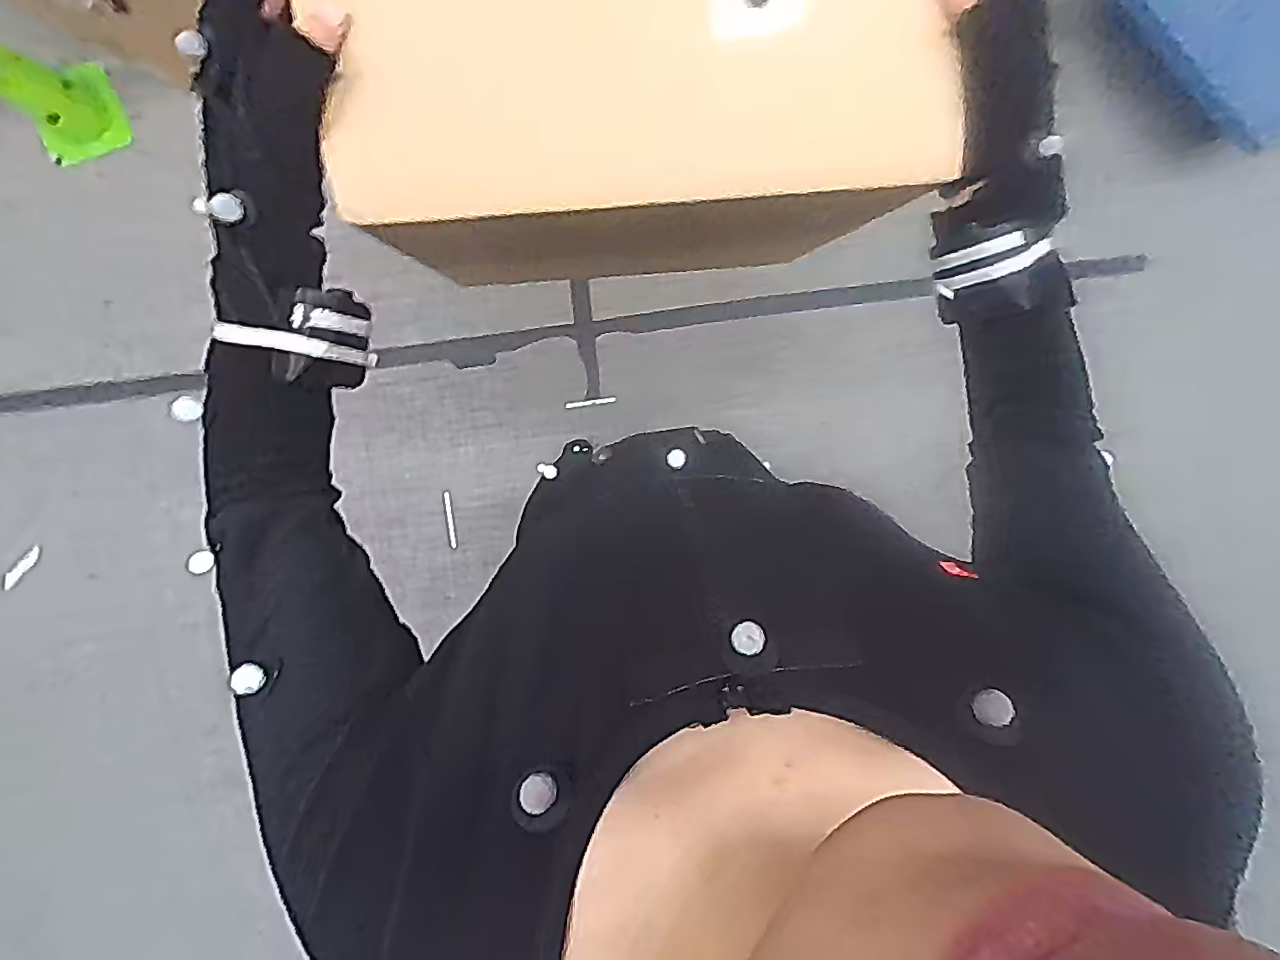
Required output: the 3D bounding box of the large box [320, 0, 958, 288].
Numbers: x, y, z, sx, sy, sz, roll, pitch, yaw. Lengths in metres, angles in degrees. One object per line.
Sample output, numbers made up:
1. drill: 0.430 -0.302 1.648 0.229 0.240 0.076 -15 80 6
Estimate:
1. large box: -0.012 -0.366 0.469 0.408 0.320 0.320 -7 103 -5
